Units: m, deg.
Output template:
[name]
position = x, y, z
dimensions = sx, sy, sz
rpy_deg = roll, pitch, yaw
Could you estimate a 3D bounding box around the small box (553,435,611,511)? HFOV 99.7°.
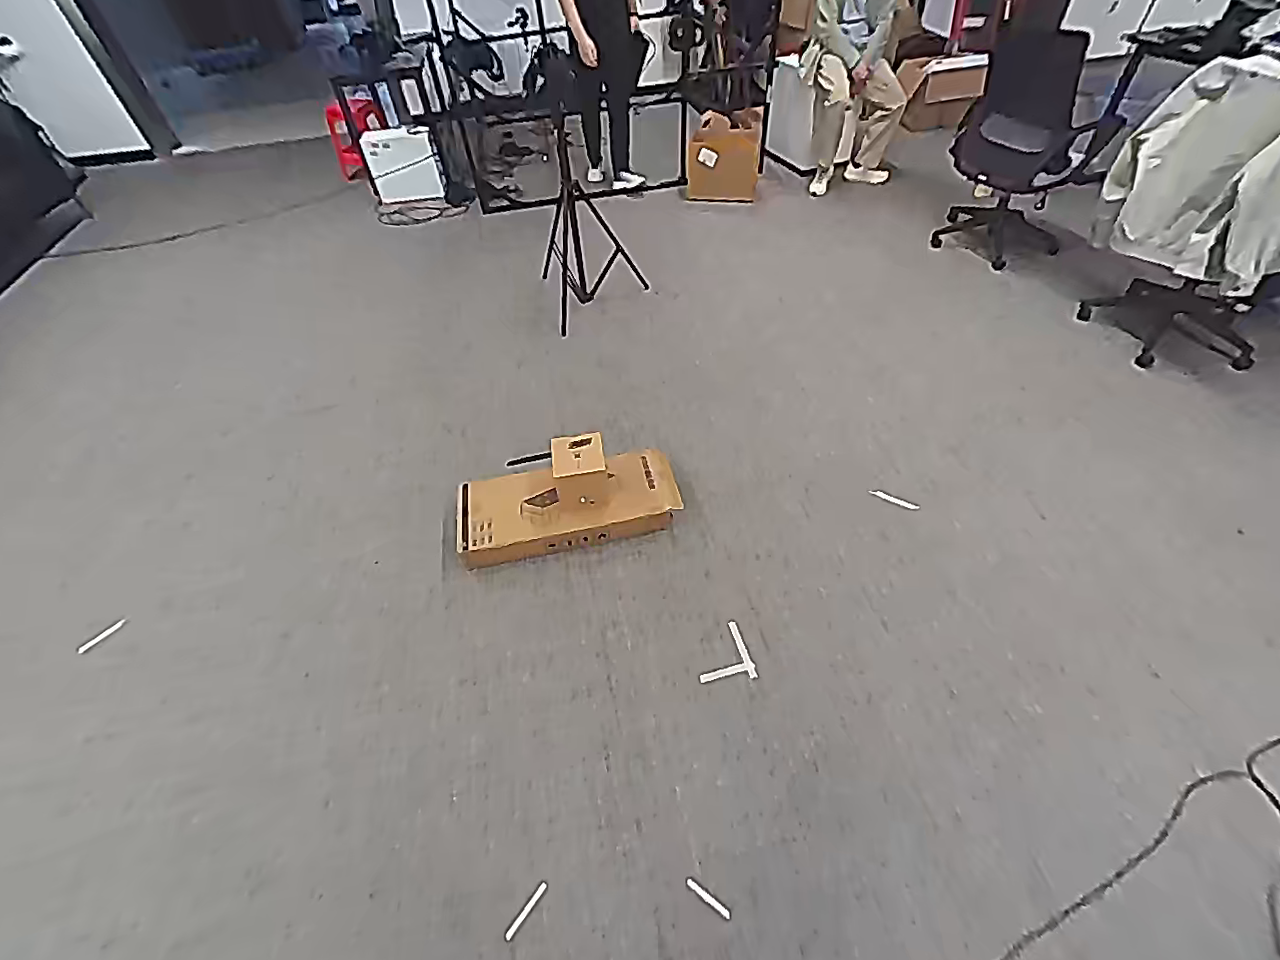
[small box]
position = -0.192, -0.022, 1.795
dimensions = 0.168, 0.176, 0.179
rpy_deg = -9, 48, -3
